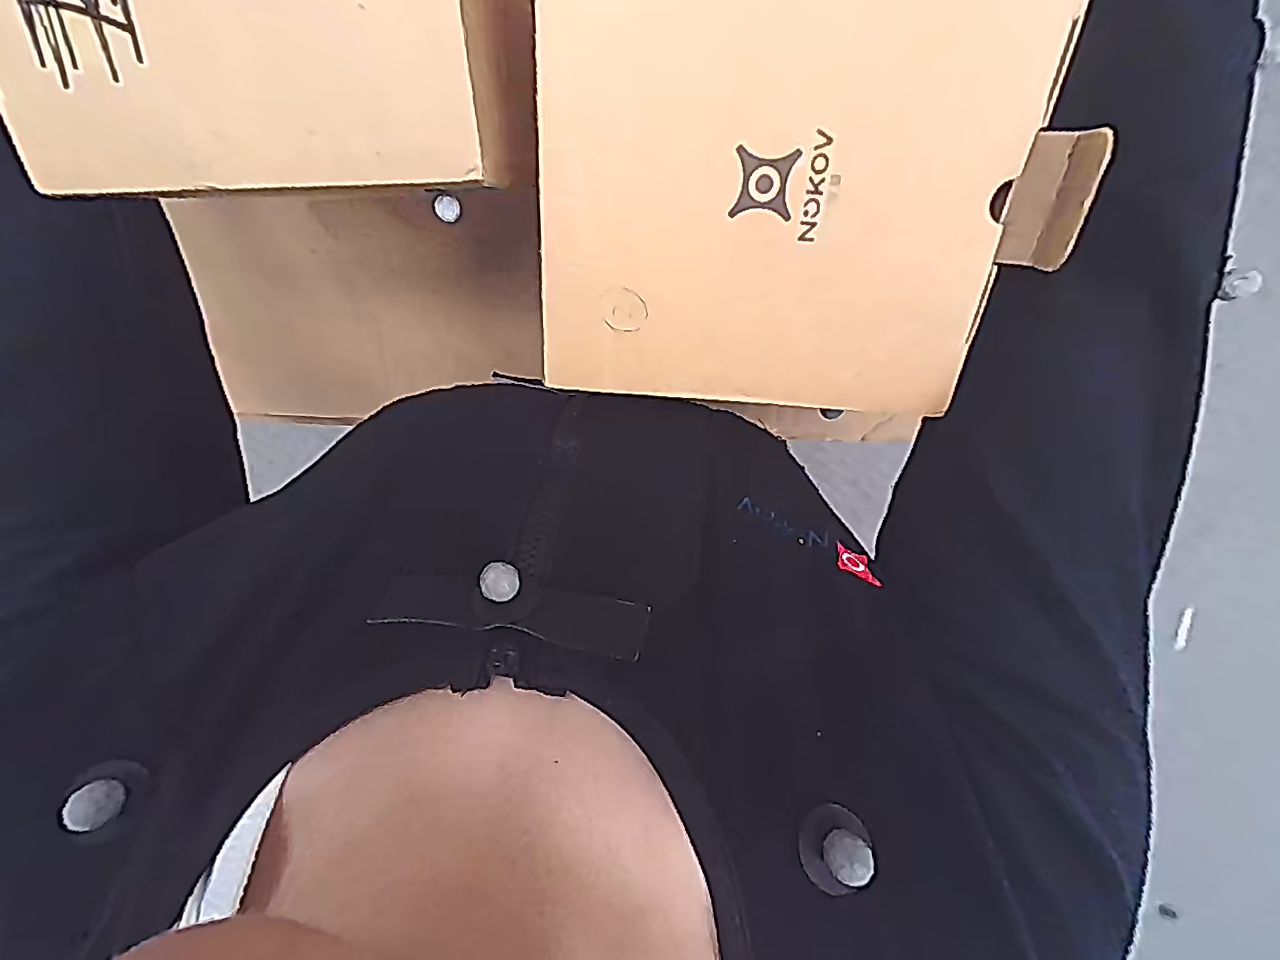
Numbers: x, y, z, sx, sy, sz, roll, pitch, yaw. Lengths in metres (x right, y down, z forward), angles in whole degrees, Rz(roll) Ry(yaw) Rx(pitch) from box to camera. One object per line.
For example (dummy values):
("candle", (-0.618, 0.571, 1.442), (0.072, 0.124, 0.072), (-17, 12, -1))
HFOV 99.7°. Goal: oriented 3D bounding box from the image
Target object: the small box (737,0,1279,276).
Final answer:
("small box", (0.151, -0.200, 0.215), (0.179, 0.176, 0.168), (15, 124, -5))
